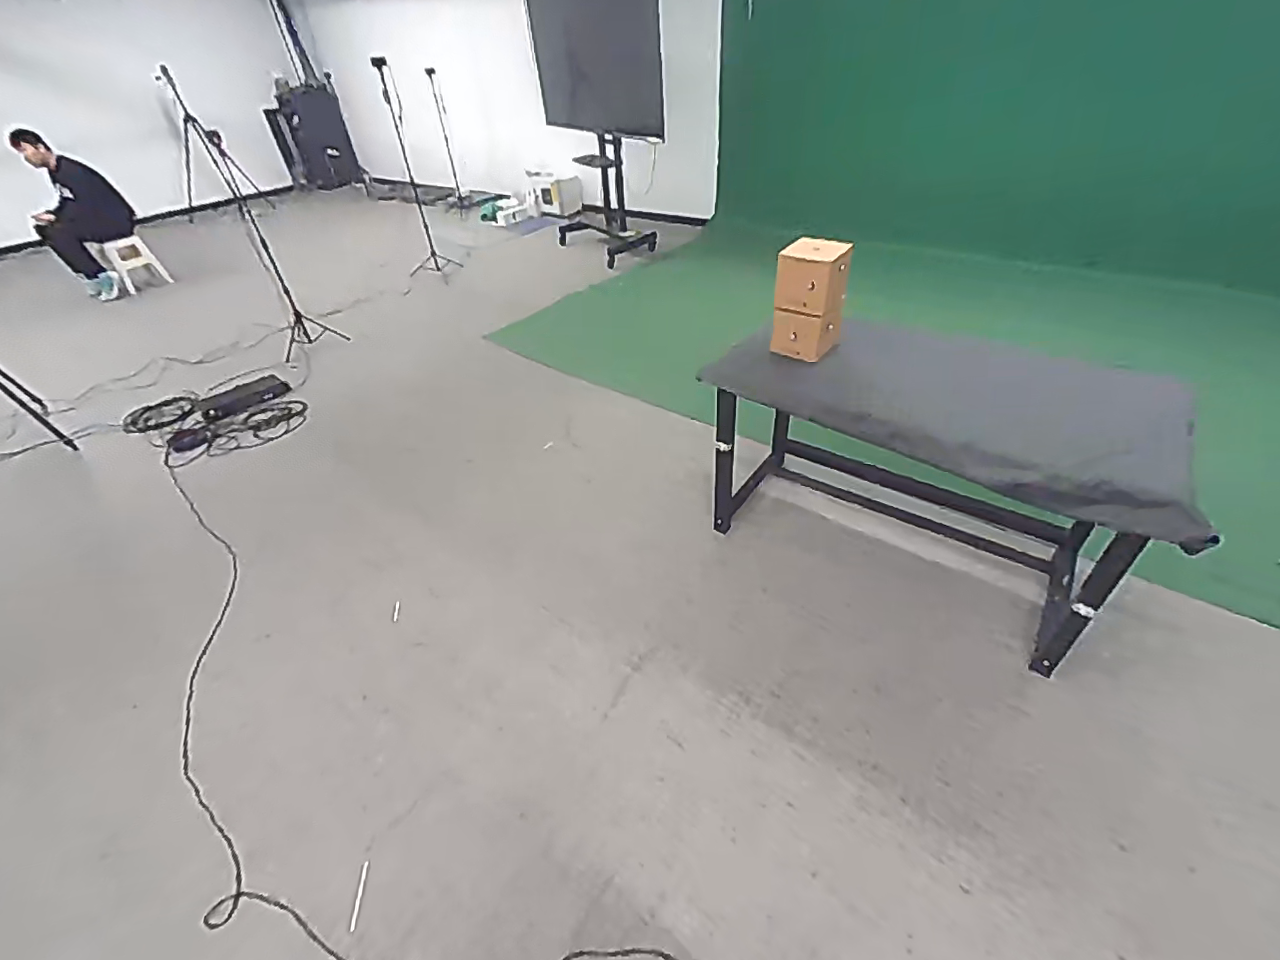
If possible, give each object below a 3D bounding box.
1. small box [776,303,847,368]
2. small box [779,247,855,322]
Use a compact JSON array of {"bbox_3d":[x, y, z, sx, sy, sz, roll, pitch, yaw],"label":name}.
[{"bbox_3d":[0.568,-0.495,1.808,0.168,0.176,0.179,25,48,31],"label":"small box"},{"bbox_3d":[0.550,-0.614,1.697,0.168,0.176,0.179,24,46,29],"label":"small box"}]
